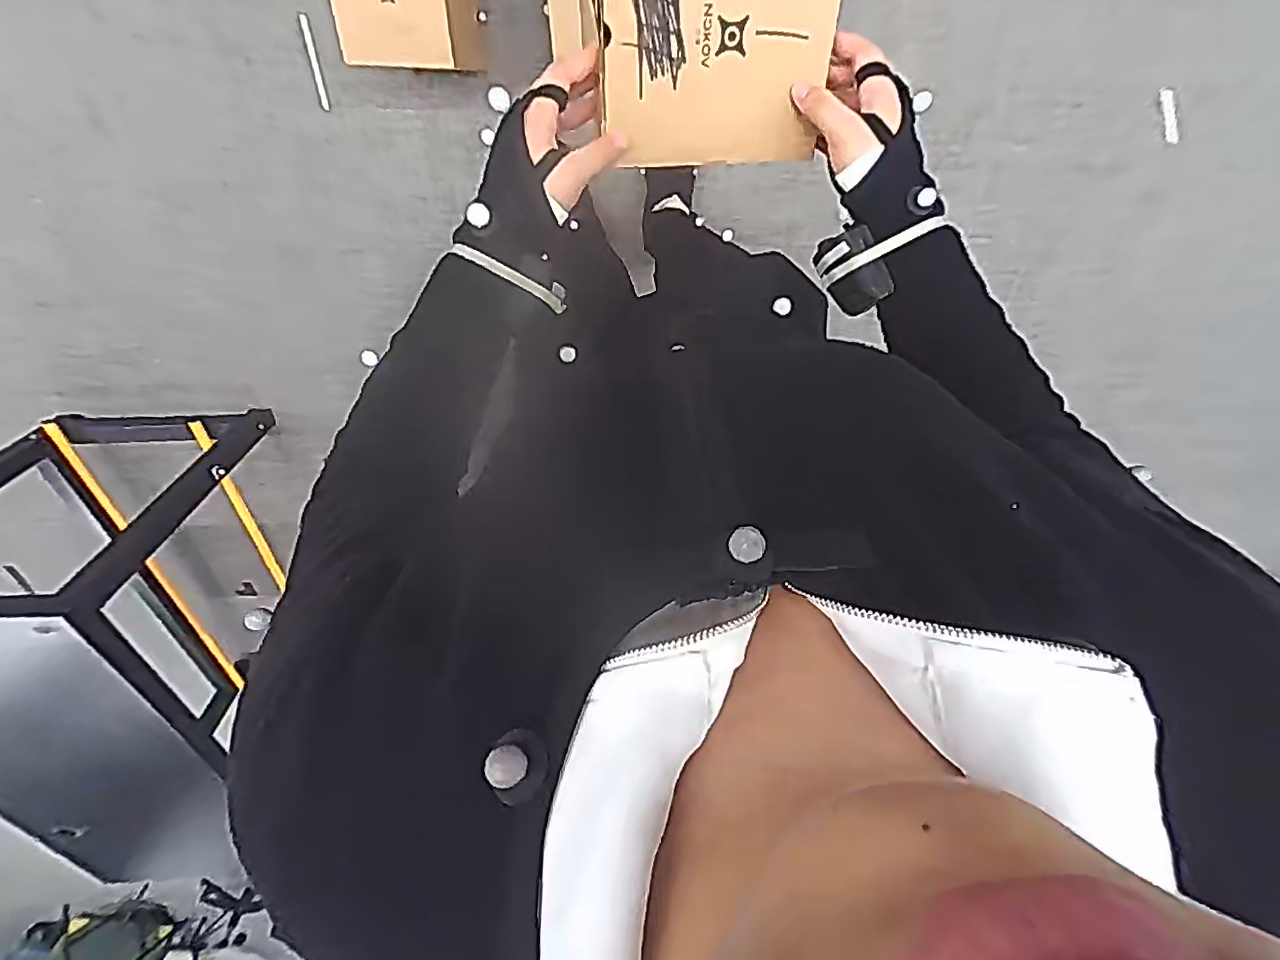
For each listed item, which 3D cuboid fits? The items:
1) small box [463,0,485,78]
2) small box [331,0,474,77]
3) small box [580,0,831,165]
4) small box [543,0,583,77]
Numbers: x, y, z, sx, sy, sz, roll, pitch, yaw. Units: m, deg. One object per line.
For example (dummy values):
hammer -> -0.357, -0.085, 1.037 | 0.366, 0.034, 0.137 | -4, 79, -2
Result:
small box -> -0.383, -0.835, 0.974 | 0.179, 0.176, 0.168 | 0, 126, -4
small box -> -0.367, -0.742, 0.842 | 0.168, 0.176, 0.179 | 0, 128, -2
small box -> 0.041, -0.374, 0.456 | 0.179, 0.176, 0.168 | -6, 131, -8
small box -> -0.086, -0.850, 0.986 | 0.168, 0.176, 0.179 | -3, 128, -1
